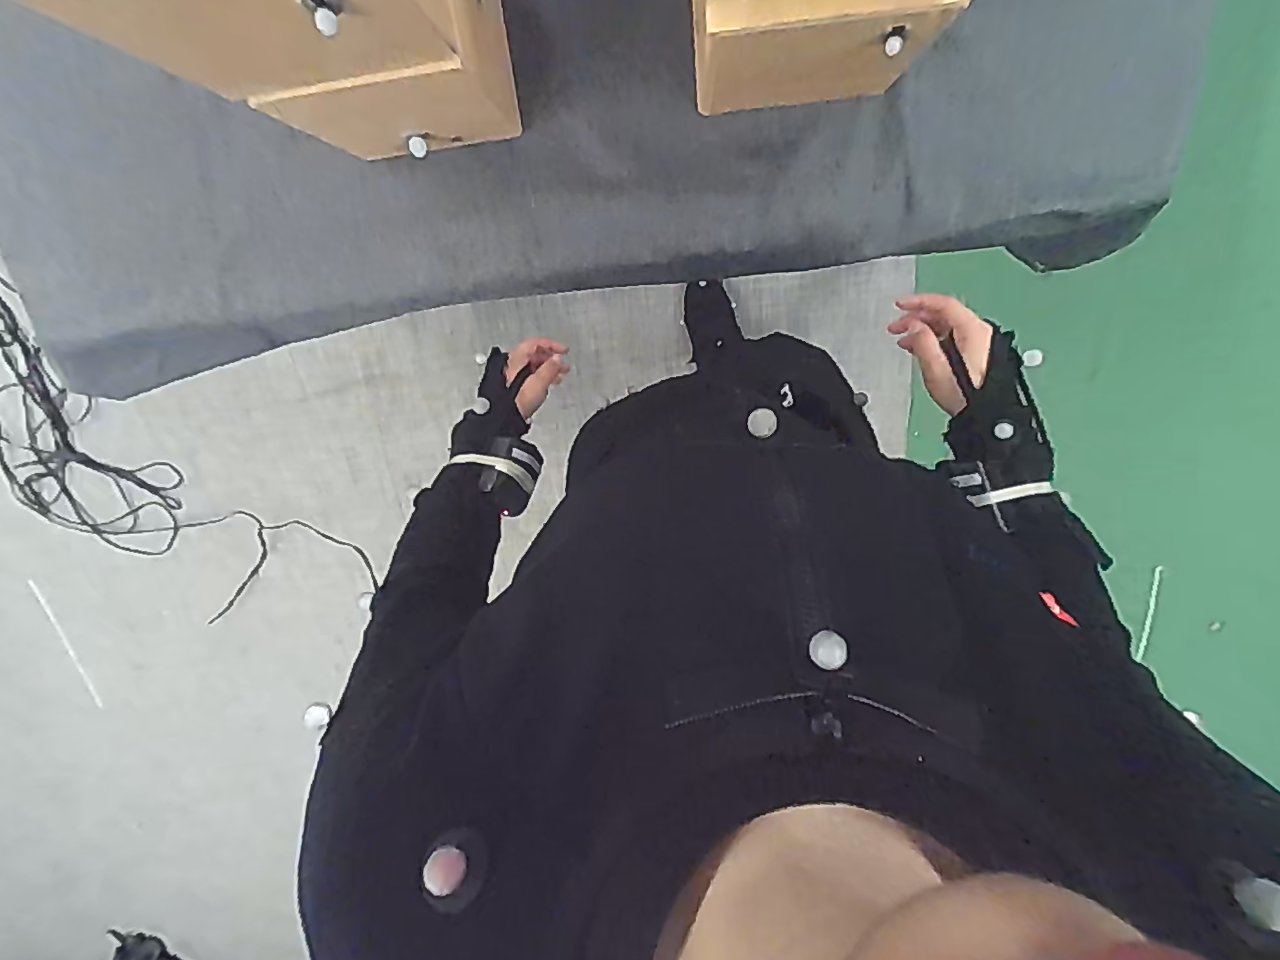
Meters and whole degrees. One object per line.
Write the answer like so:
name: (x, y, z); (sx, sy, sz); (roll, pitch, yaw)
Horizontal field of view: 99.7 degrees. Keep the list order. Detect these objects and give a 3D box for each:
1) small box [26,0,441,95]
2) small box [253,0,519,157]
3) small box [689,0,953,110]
small box: (-0.225, -0.338, 0.285); (0.179, 0.176, 0.168); (-6, 106, 7)
small box: (-0.210, -0.390, 0.439); (0.168, 0.176, 0.179); (-5, 108, 5)
small box: (0.125, -0.411, 0.415); (0.179, 0.176, 0.168); (-4, 107, 4)
